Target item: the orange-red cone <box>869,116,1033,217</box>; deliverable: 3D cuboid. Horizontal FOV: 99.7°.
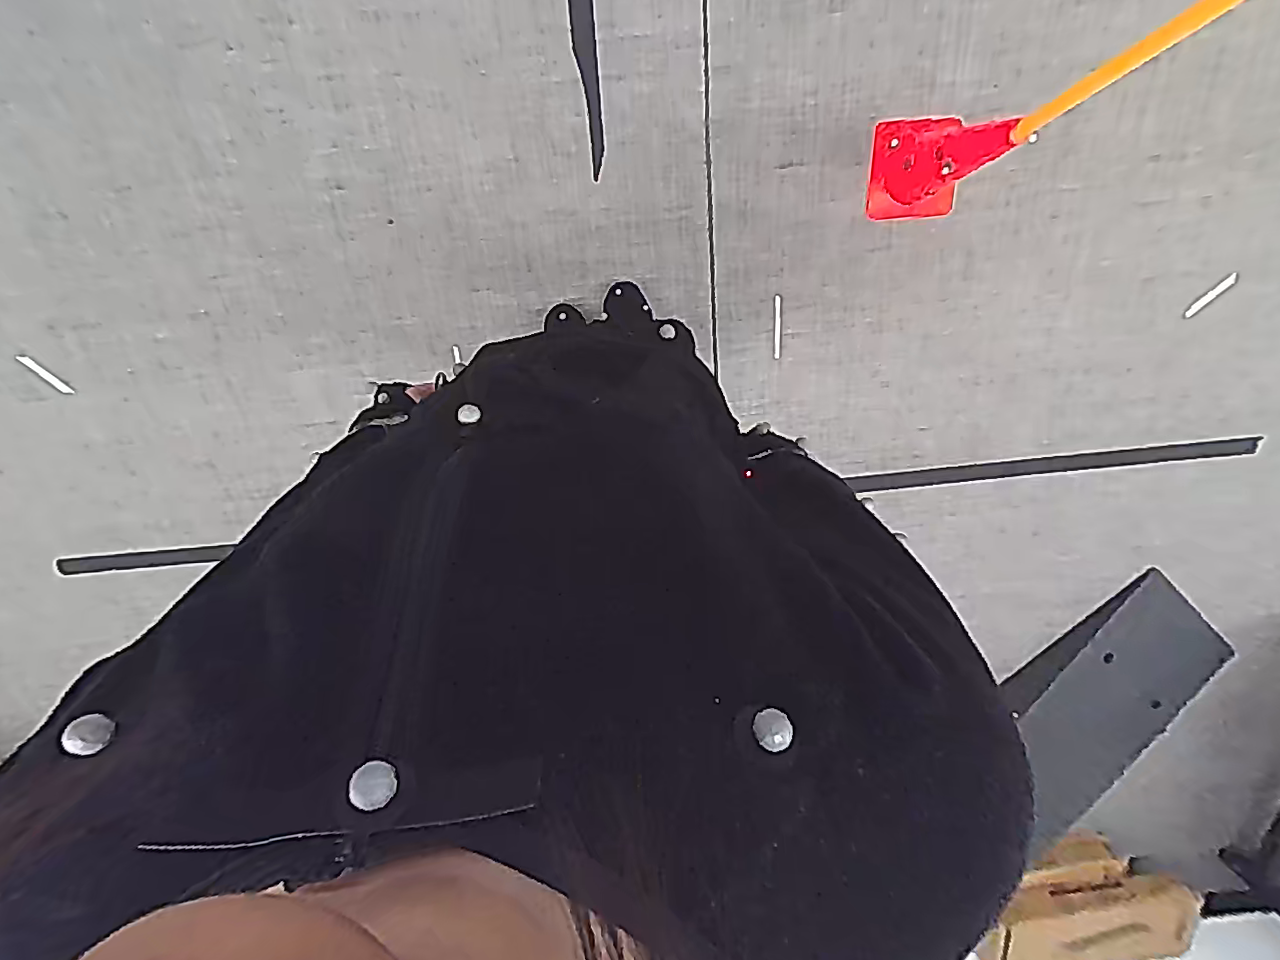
[{"bbox_3d":[0.624,-0.636,1.049,0.198,0.360,0.199,-1,111,-1],"label":"orange-red cone"}]
